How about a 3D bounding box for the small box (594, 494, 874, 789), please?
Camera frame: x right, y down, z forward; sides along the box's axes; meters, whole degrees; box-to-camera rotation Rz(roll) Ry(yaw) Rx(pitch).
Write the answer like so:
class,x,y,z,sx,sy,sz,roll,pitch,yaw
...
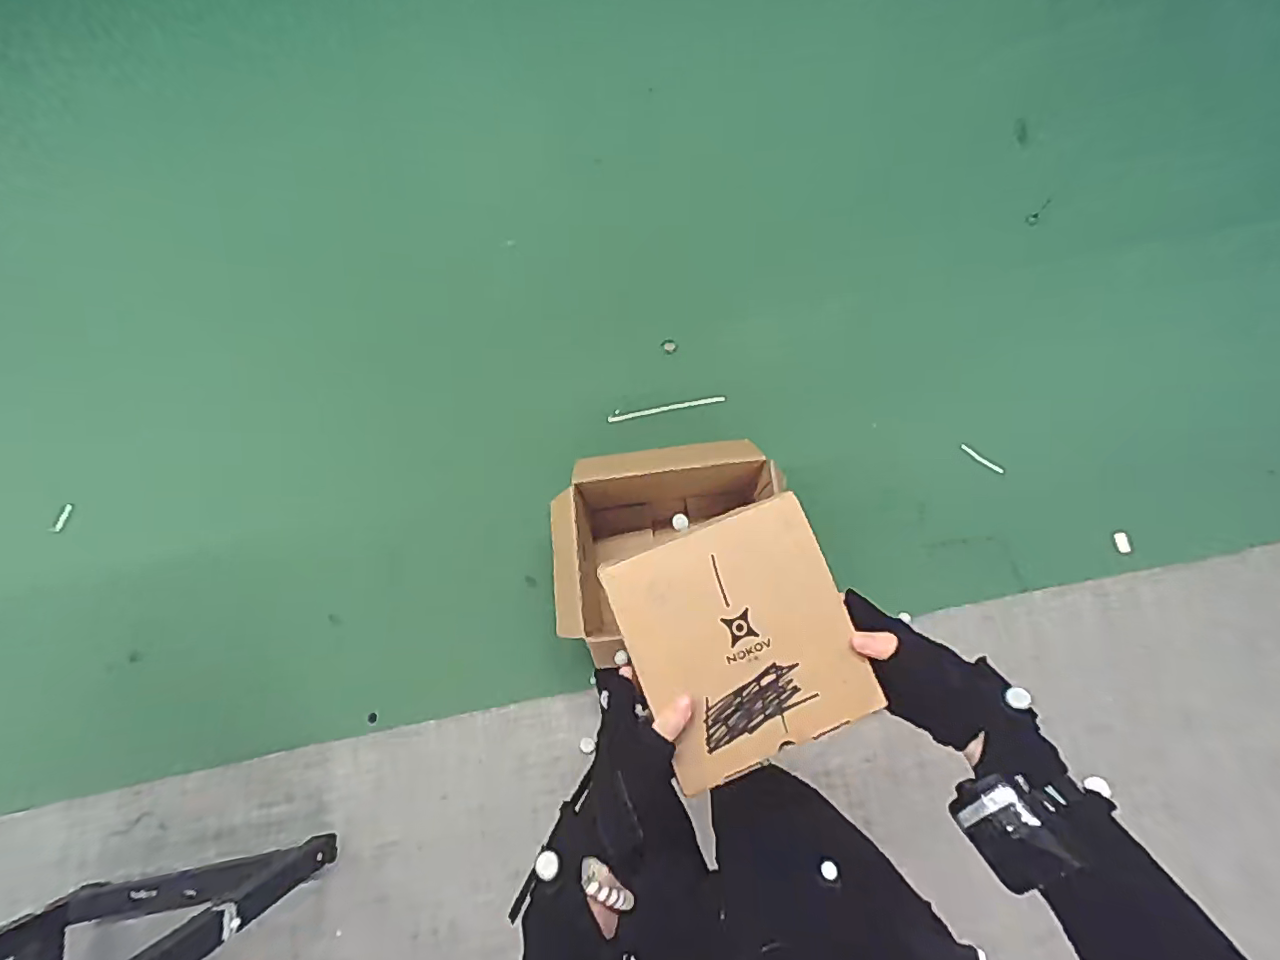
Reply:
class,x,y,z,sx,sy,sz,roll,pitch,yaw
small box,0.067,0.126,0.482,0.168,0.176,0.179,-21,84,-6
